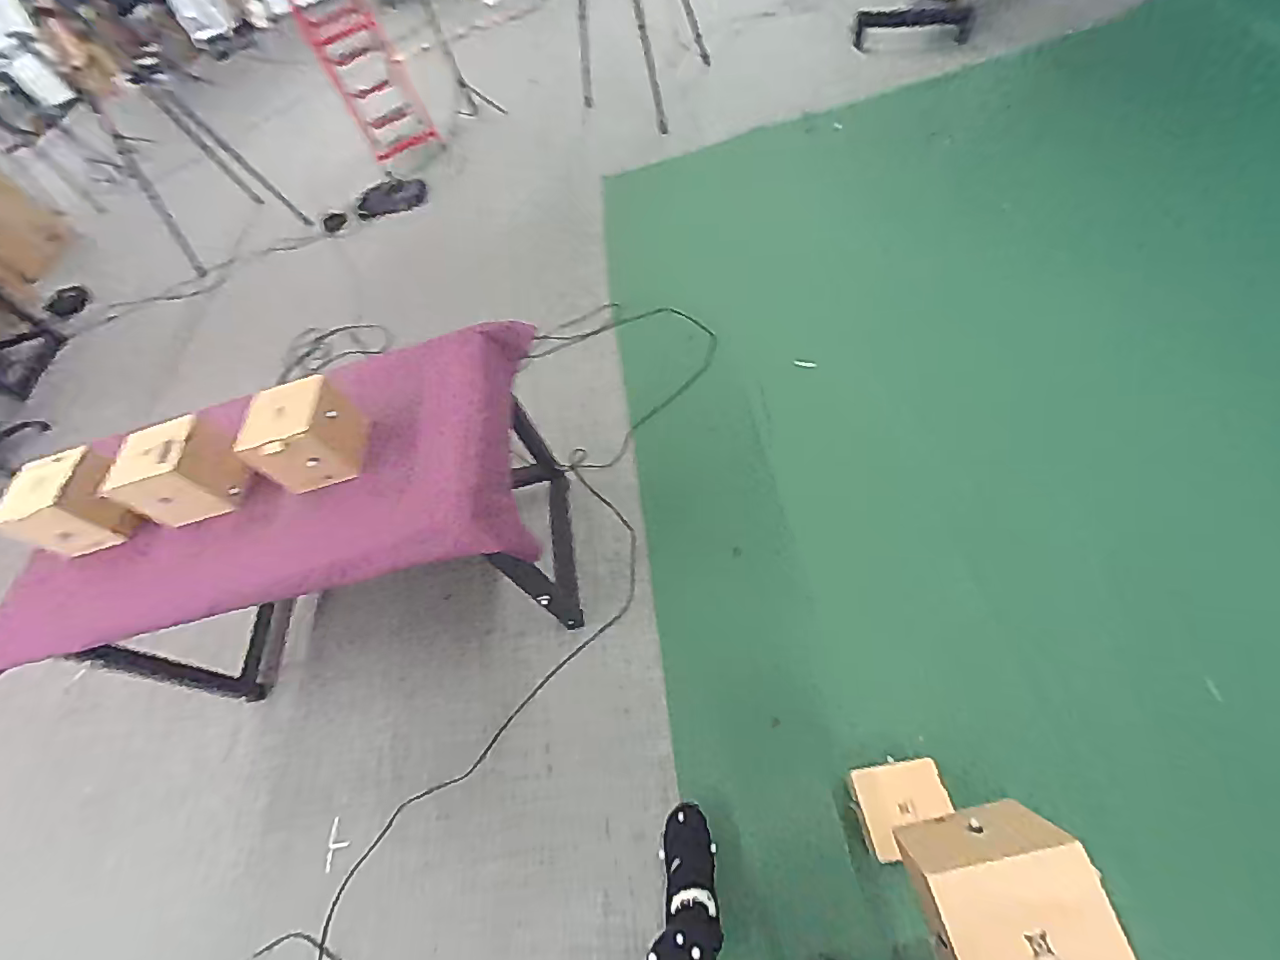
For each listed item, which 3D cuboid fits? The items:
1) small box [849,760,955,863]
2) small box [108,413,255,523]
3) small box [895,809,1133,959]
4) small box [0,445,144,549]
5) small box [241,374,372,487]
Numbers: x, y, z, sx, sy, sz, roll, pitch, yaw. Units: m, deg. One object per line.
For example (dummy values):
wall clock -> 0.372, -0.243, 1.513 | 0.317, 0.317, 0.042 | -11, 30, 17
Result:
small box -> 0.566, 0.723, 1.174 | 0.179, 0.176, 0.168 | -14, 55, 6
small box -> -1.039, -0.022, 1.246 | 0.179, 0.176, 0.168 | -15, 55, 7
small box -> 0.420, 0.504, 0.622 | 0.168, 0.176, 0.179 | -18, 71, 7
small box -> -1.319, 0.048, 1.282 | 0.168, 0.176, 0.179 | -15, 55, 6
small box -> -0.731, -0.102, 1.208 | 0.168, 0.176, 0.179 | -14, 55, 7
